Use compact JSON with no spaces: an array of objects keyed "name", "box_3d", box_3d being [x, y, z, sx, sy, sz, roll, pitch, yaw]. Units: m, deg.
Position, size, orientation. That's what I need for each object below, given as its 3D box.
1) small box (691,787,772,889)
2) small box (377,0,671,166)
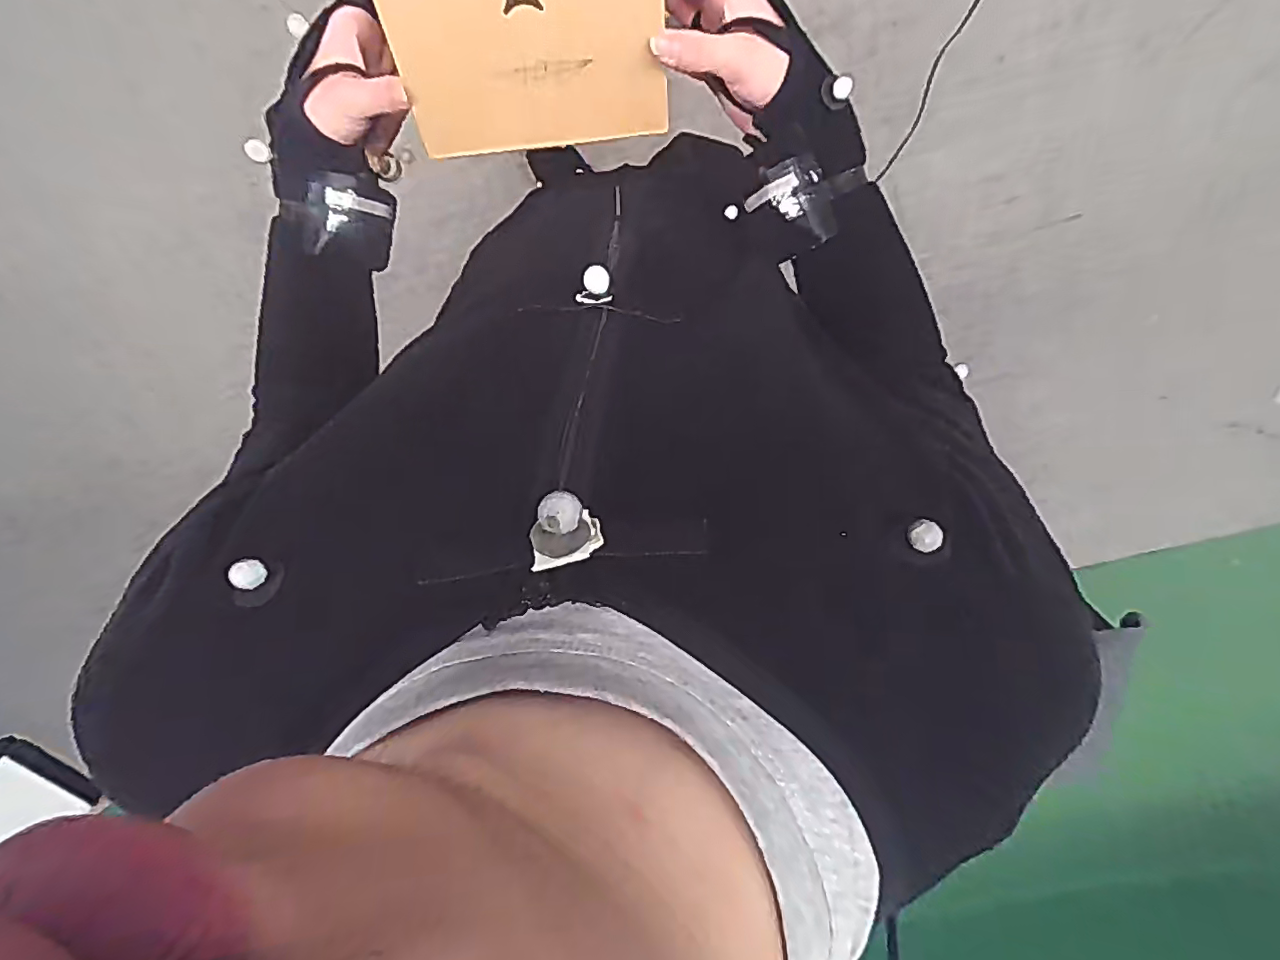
[{"name":"small box","box_3d":[0.236,0.926,1.413,0.168,0.176,0.179,-14,124,6]},{"name":"small box","box_3d":[-0.071,-0.337,0.349,0.168,0.176,0.179,-5,143,1]}]
